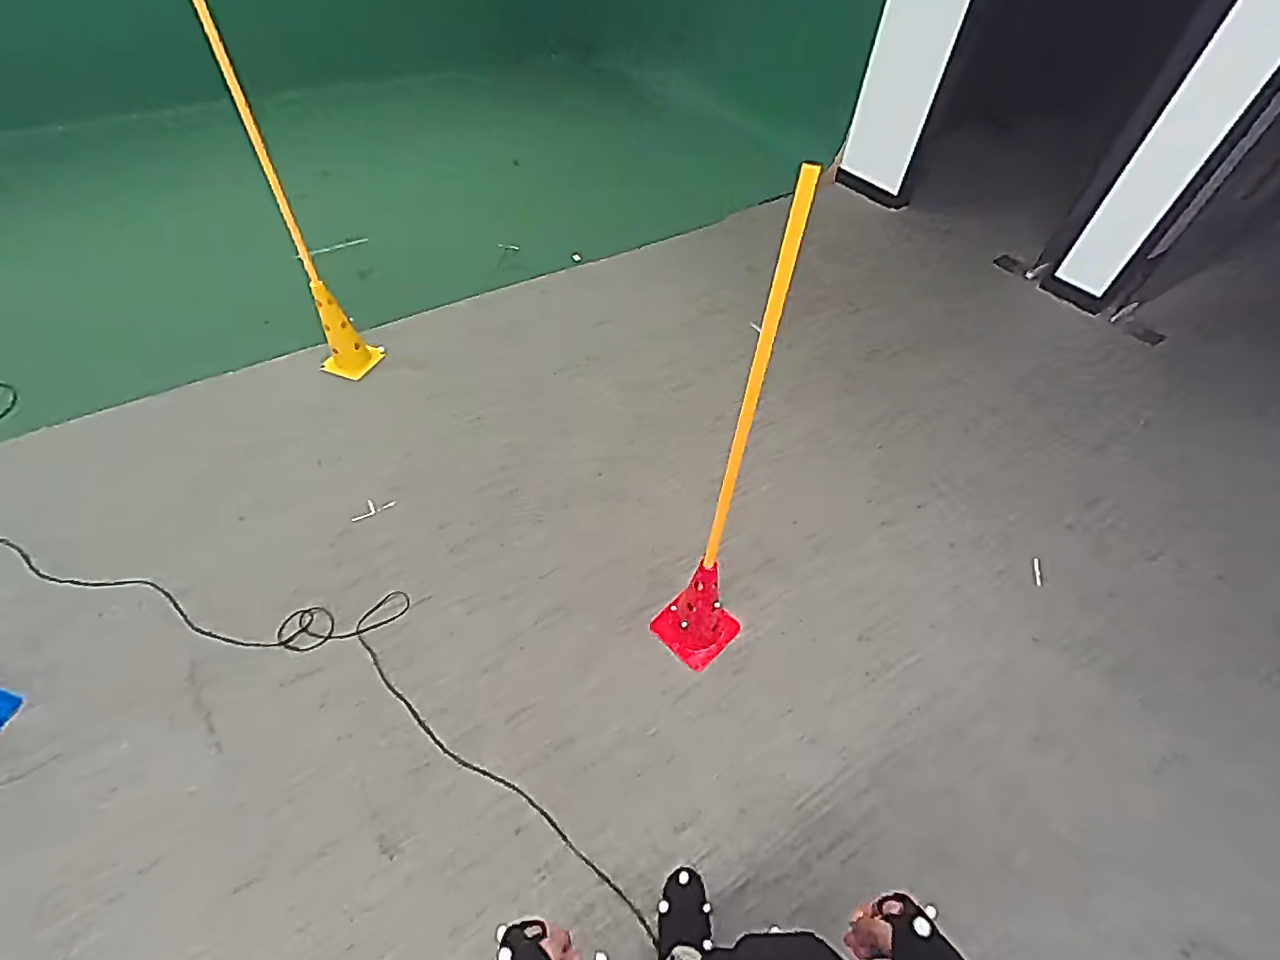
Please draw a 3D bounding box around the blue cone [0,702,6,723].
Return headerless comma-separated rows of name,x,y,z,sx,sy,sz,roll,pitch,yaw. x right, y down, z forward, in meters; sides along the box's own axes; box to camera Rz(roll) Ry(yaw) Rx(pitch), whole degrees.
blue cone,-1.701,0.533,1.199,0.192,0.380,0.193,12,54,7
